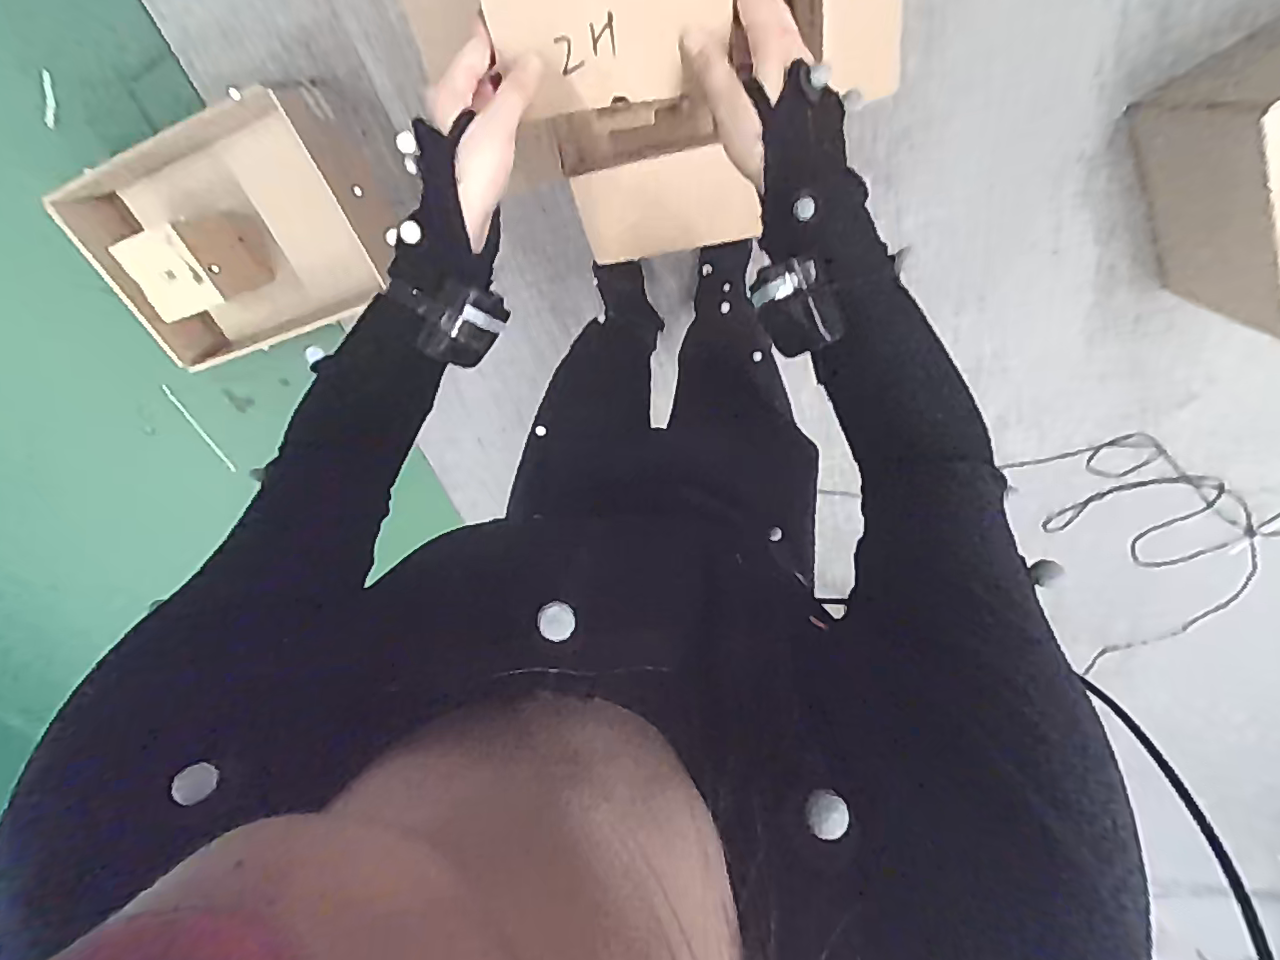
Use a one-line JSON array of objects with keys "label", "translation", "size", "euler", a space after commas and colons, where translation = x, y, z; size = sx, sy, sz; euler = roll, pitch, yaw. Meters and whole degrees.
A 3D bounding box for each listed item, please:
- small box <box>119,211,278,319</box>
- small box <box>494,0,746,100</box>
[{"label": "small box", "translation": [-0.970, -0.481, 1.206], "size": [0.179, 0.176, 0.168], "euler": [-12, 122, 15]}, {"label": "small box", "translation": [-0.013, -0.399, 0.371], "size": [0.168, 0.176, 0.179], "euler": [-1, 141, 10]}]
